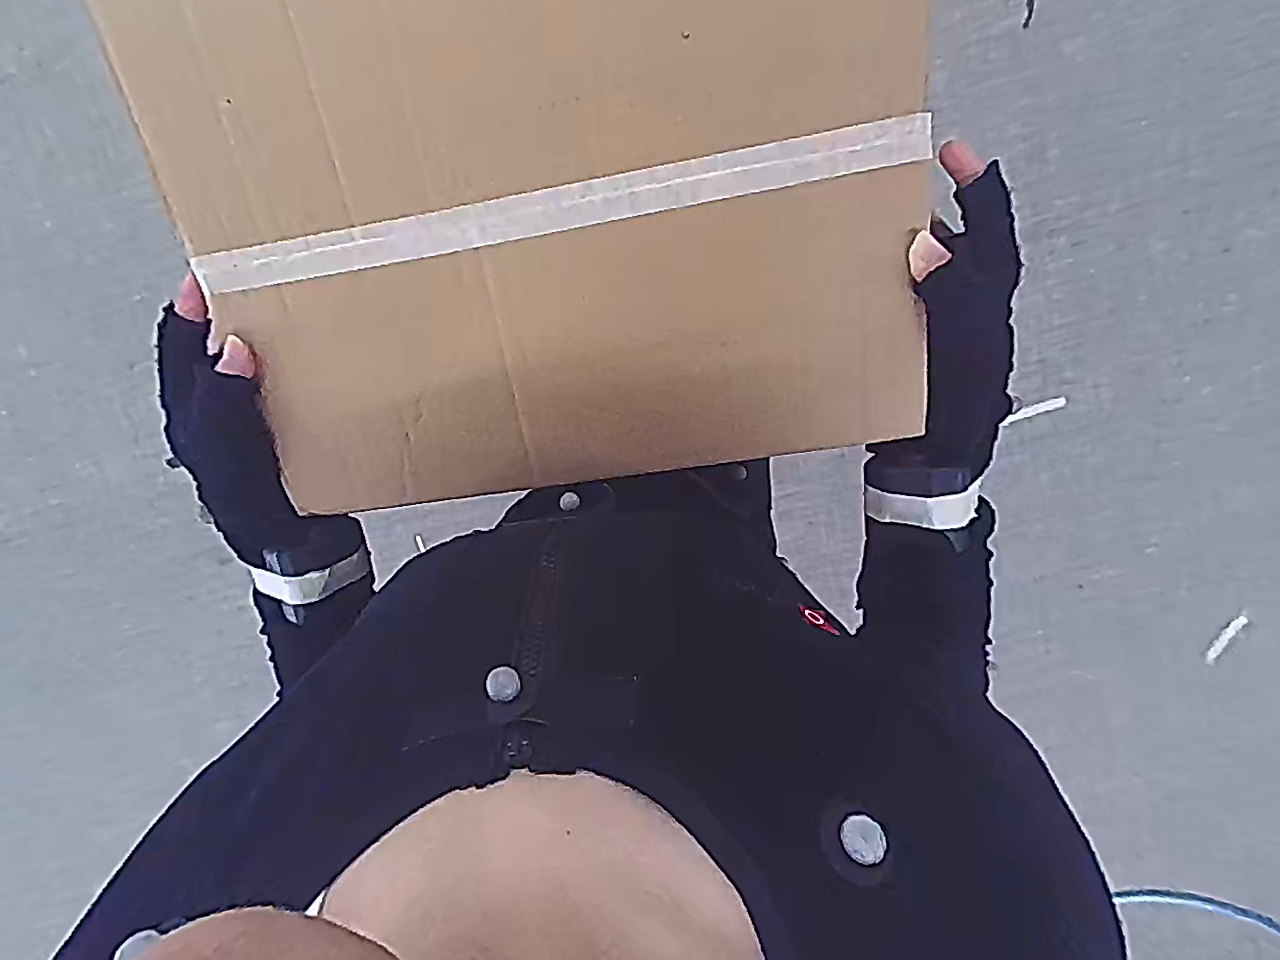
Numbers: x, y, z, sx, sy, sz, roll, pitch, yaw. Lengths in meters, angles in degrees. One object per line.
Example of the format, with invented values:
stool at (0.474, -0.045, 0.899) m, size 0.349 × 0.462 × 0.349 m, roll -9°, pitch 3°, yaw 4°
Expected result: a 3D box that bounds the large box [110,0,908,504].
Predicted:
large box at (-0.046, -0.205, 0.442) m, size 0.408 × 0.320 × 0.320 m, roll -8°, pitch 109°, yaw 6°
